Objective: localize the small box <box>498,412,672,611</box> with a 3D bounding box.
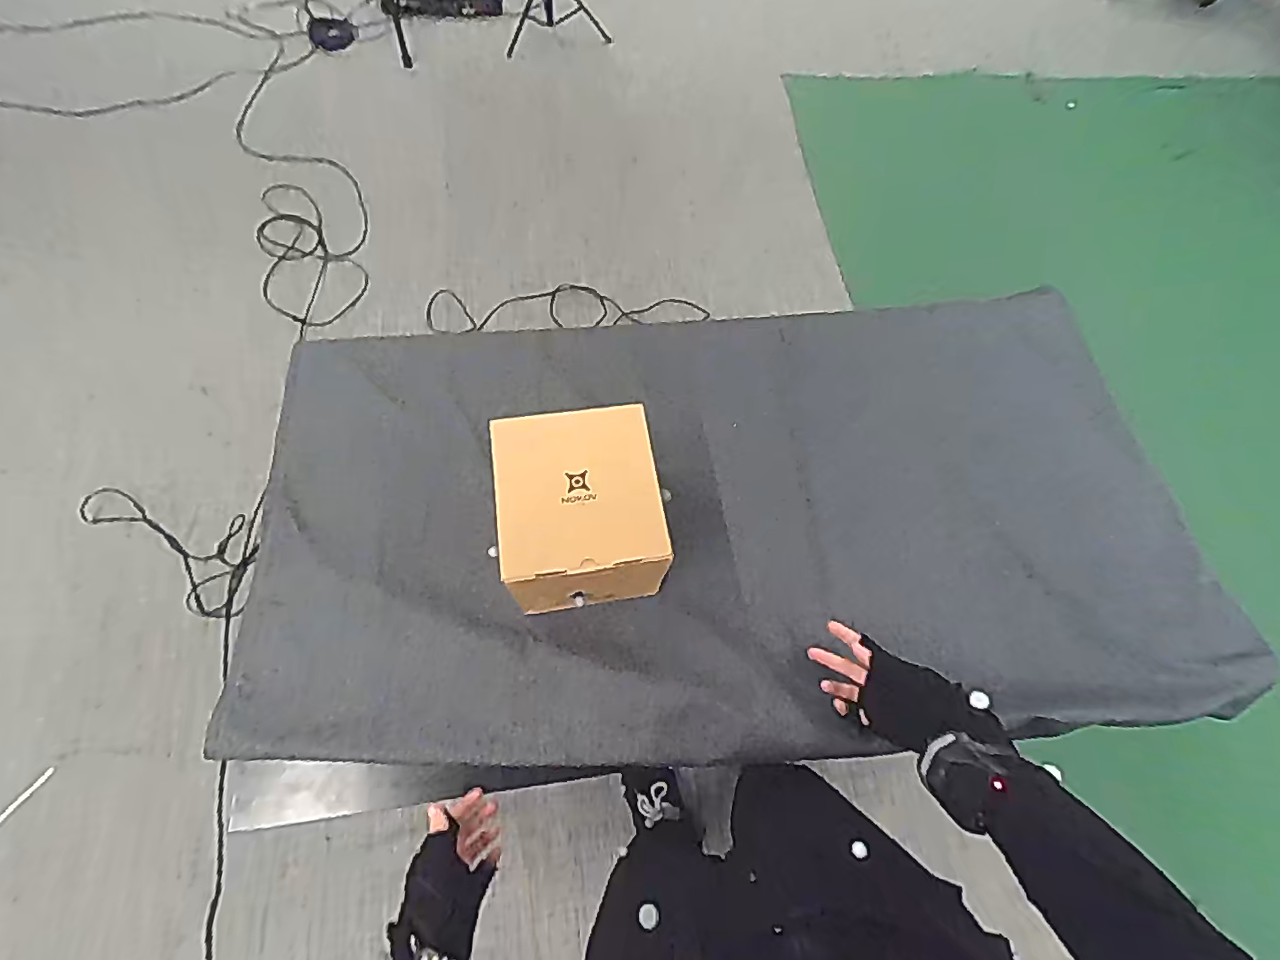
[{"bbox_3d":[-0.068,0.042,0.630,0.168,0.176,0.179,-7,68,-8],"label":"small box"}]
